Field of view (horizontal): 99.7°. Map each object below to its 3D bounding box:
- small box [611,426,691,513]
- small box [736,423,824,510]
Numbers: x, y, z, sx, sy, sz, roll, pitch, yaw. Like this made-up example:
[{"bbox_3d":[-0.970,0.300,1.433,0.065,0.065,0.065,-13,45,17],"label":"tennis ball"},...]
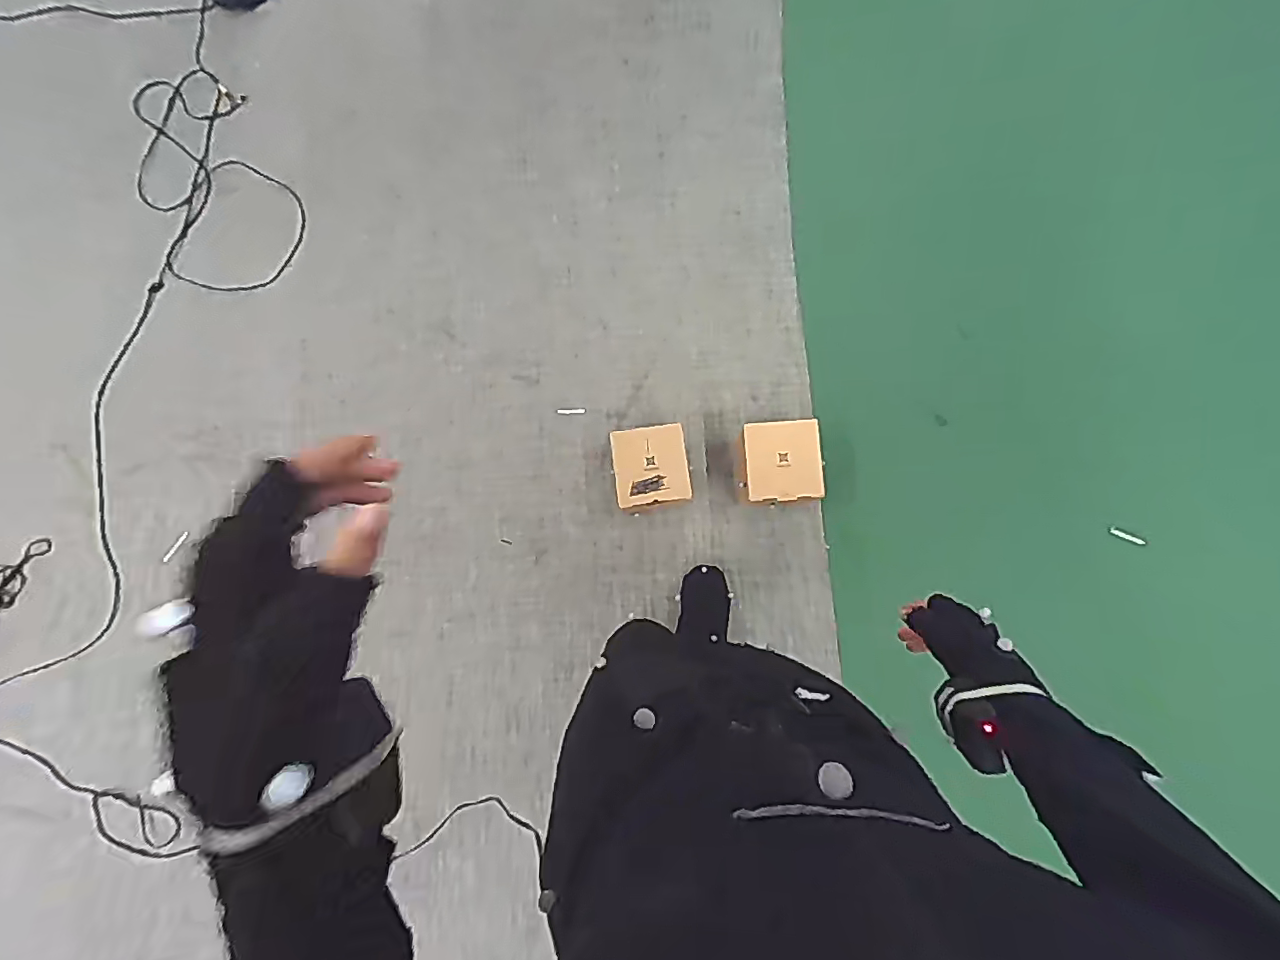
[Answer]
[{"bbox_3d":[0.029,-0.017,1.287,0.168,0.176,0.179,-7,80,2],"label":"small box"},{"bbox_3d":[0.321,-0.027,1.273,0.168,0.176,0.179,-3,82,3],"label":"small box"}]
